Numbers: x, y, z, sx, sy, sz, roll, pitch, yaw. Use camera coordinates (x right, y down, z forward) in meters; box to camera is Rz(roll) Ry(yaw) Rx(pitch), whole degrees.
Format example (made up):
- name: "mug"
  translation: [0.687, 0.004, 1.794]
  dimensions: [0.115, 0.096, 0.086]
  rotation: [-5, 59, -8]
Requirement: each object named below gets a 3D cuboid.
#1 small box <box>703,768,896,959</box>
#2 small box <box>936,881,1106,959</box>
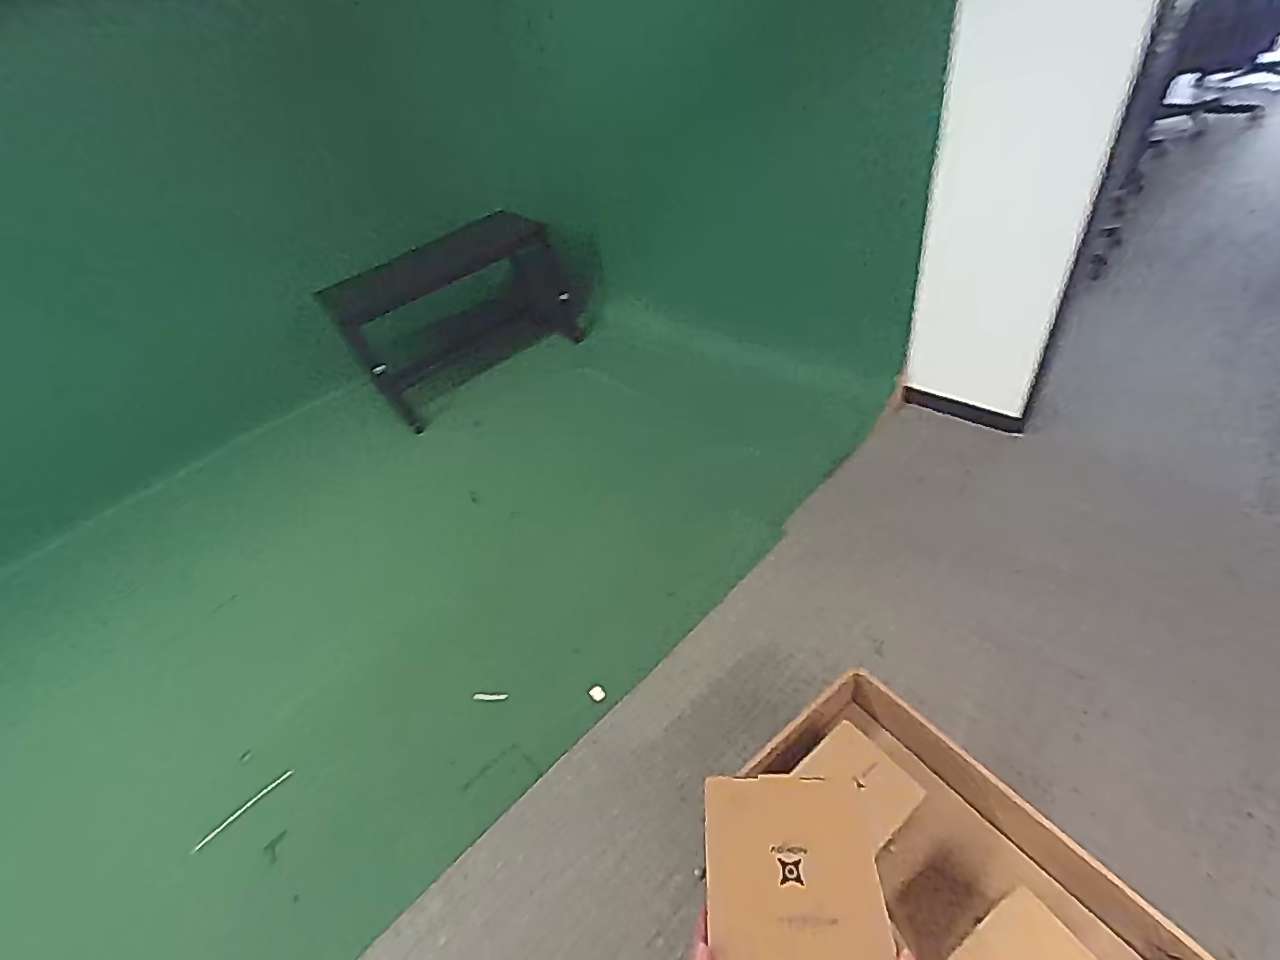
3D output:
- name: "small box"
  translation: [0.151, 0.434, 0.570]
  dimensions: [0.168, 0.176, 0.179]
  rotation: [-2, 37, 7]
- name: "small box"
  translation: [0.543, 0.715, 0.759]
  dimensions: [0.179, 0.176, 0.168]
  rotation: [-30, 44, -14]
